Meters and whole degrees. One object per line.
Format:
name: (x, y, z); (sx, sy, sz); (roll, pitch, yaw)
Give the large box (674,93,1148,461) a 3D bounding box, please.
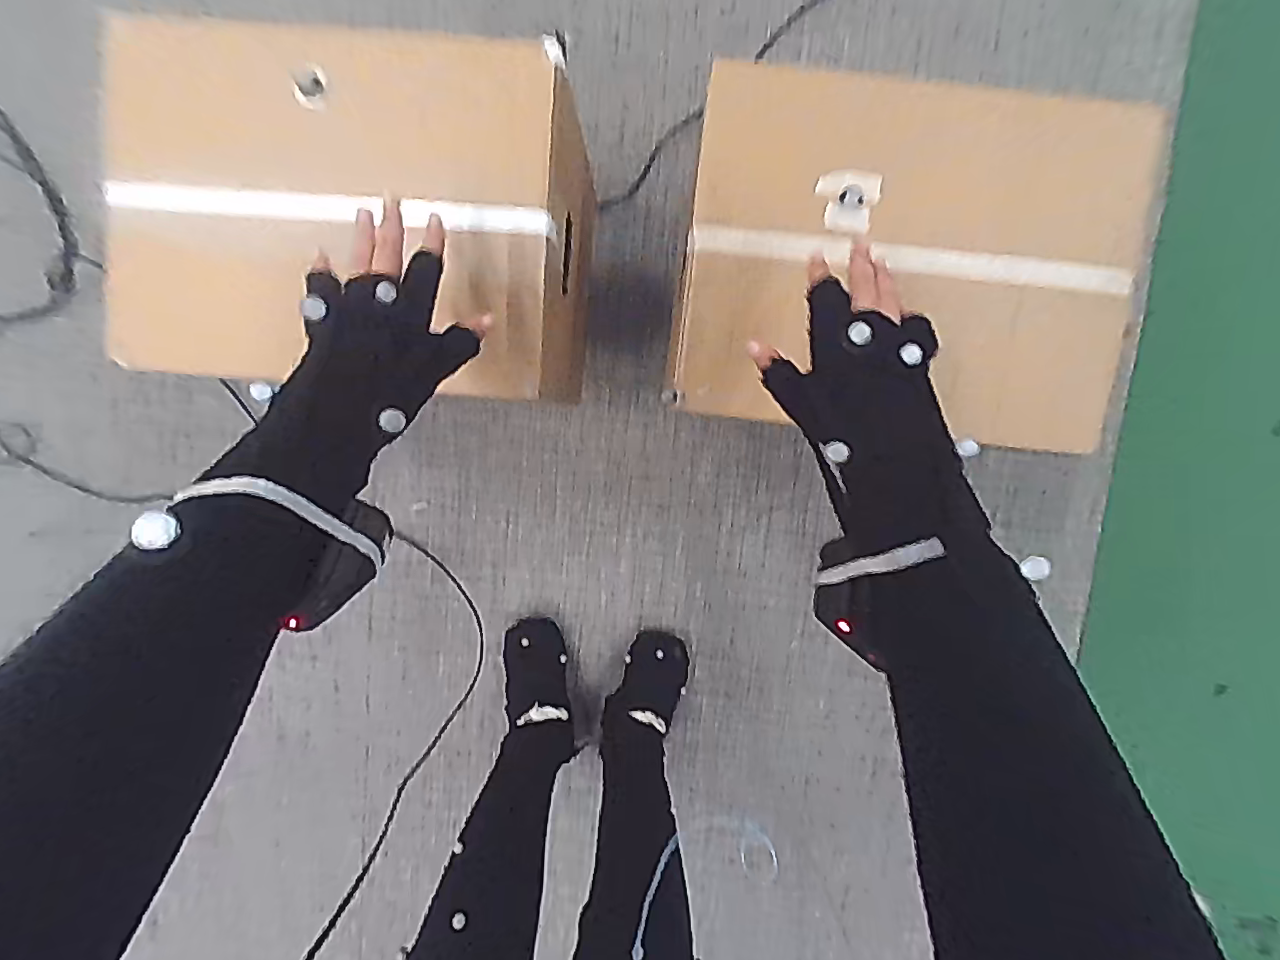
large box: (0.262, -0.209, 0.667); (0.408, 0.320, 0.320); (7, 96, 1)
